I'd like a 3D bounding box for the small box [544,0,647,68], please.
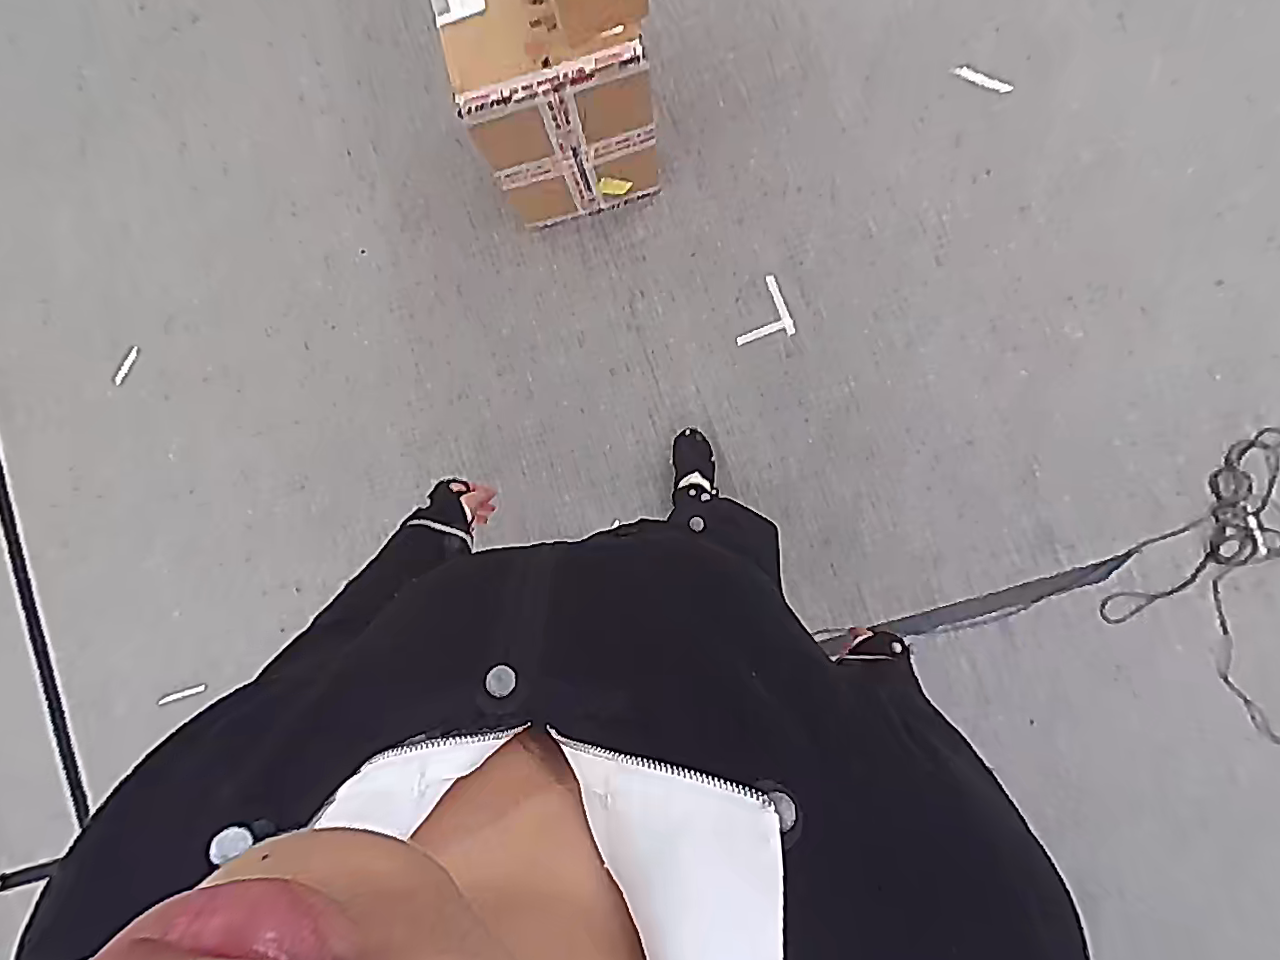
[{"bbox_3d":[-0.090,-0.916,0.990,0.179,0.176,0.168,-20,87,3],"label":"small box"}]
